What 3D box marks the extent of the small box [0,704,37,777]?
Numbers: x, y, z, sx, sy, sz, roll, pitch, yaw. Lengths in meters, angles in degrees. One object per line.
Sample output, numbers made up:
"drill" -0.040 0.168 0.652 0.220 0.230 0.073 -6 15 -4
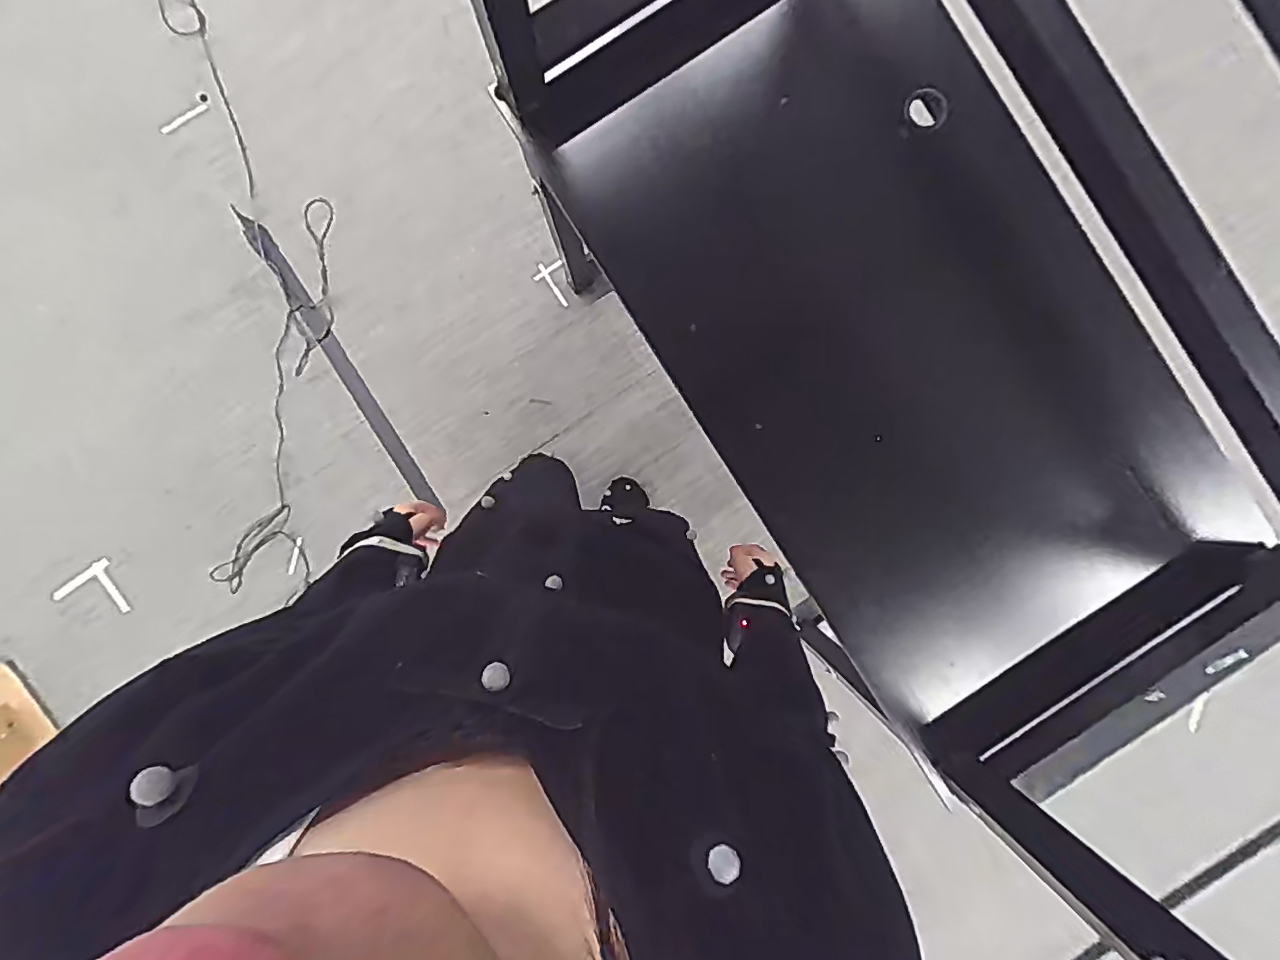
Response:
"small box" -1.736 0.713 1.380 0.179 0.176 0.168 -34 92 -1
